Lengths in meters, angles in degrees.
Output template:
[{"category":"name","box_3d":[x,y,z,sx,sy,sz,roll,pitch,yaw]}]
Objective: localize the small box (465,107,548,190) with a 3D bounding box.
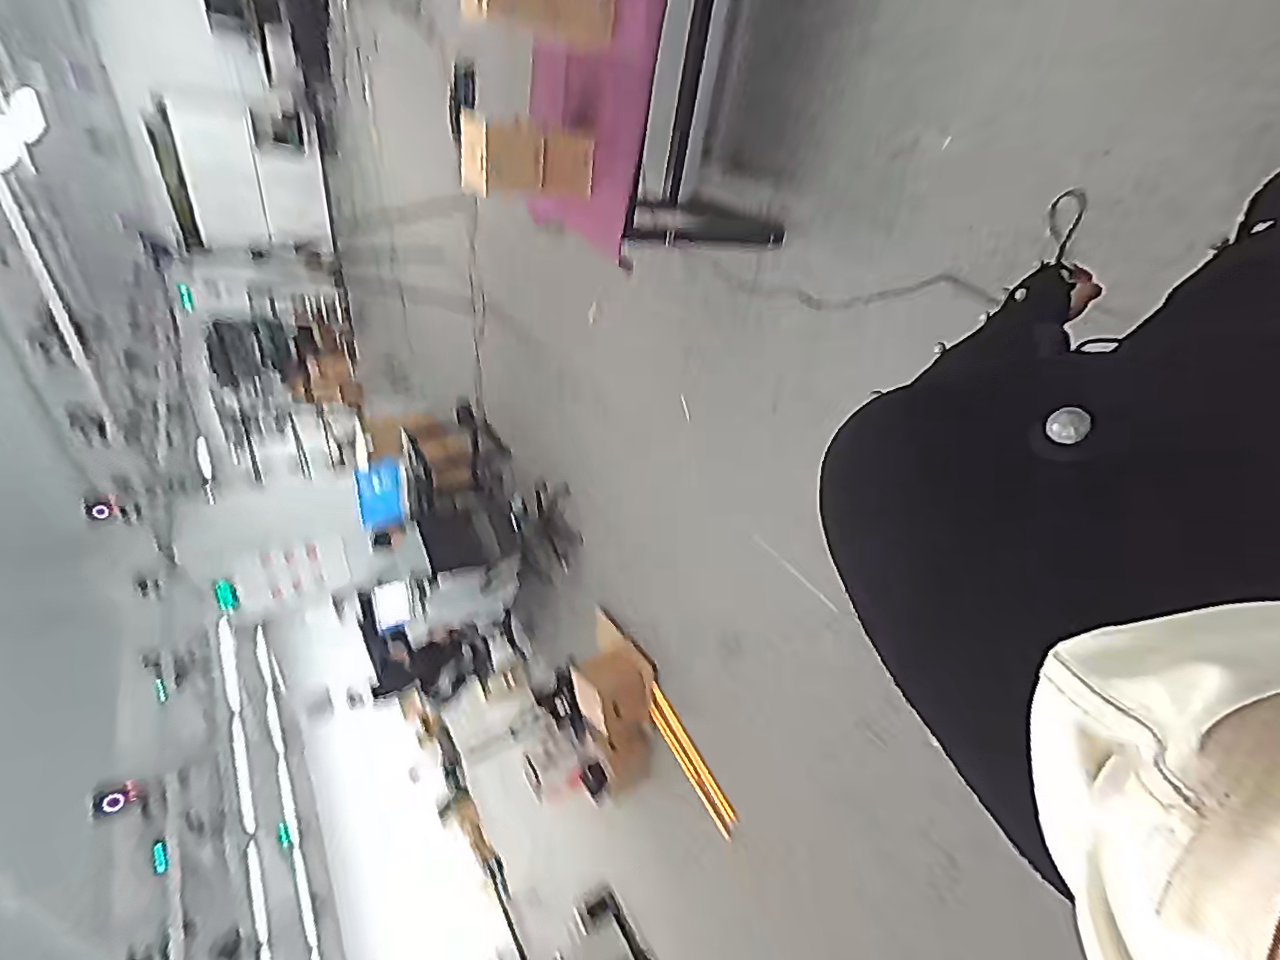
[{"category":"small box","box_3d":[-0.368,-0.904,1.481,0.179,0.176,0.168,44,135,40]}]

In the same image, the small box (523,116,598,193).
[{"category":"small box","box_3d":[-0.242,-0.946,1.578,0.179,0.176,0.168,41,133,41]}]

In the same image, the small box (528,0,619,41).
[{"category":"small box","box_3d":[-0.165,-1.221,1.352,0.179,0.176,0.168,44,136,39]}]
